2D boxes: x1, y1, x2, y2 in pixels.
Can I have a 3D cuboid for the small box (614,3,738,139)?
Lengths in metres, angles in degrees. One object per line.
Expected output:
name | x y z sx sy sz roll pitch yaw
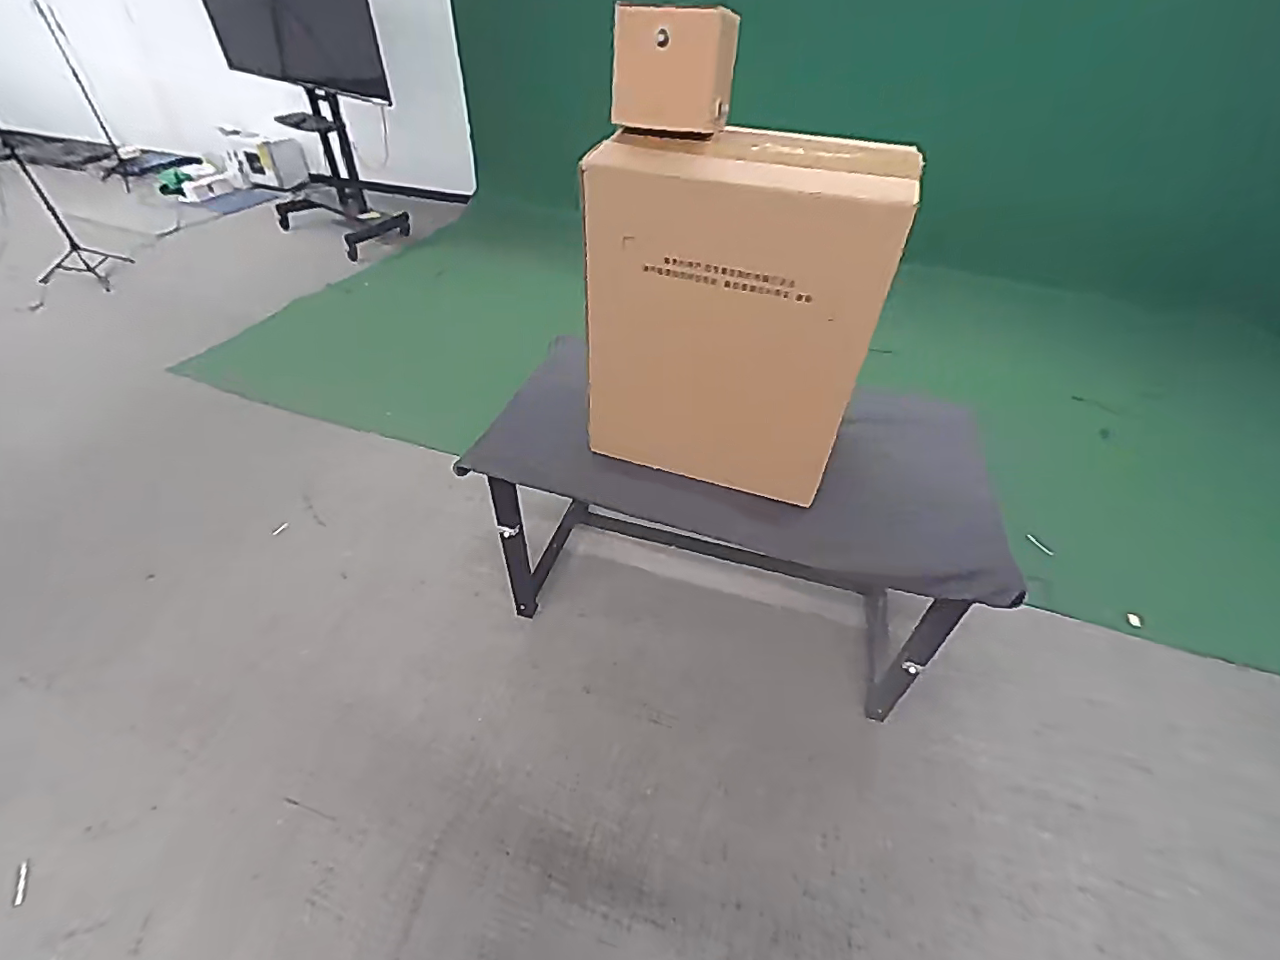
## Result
small box | 0.060 -0.710 0.951 0.179 0.176 0.168 15 37 10
